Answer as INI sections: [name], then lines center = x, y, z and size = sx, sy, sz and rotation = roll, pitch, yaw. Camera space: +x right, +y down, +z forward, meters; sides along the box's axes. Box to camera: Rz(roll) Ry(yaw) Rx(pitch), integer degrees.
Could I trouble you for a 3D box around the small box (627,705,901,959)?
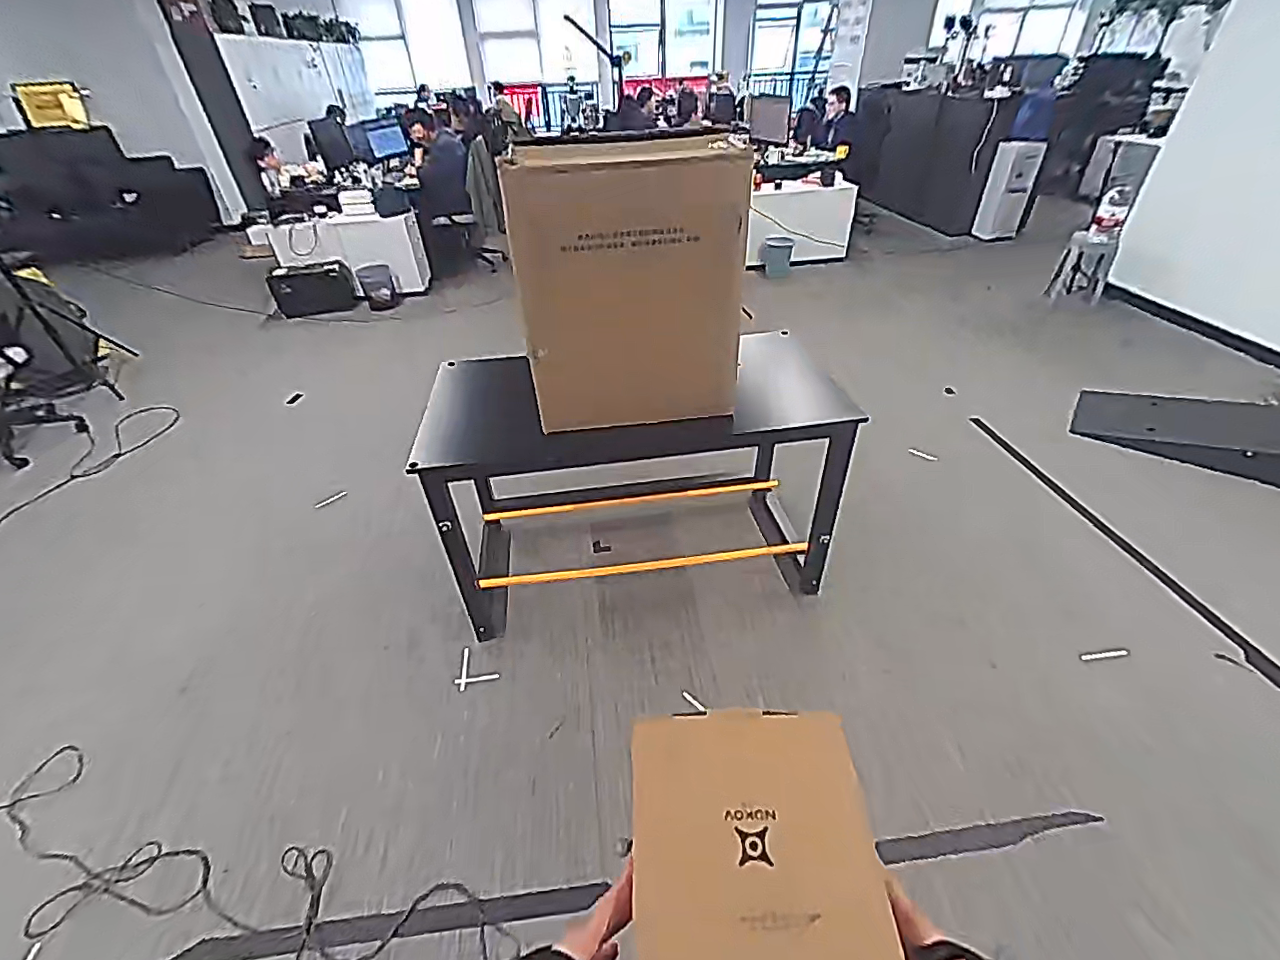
[small box]
center = 0.074, 0.298, 0.423
size = 0.168, 0.176, 0.179
rotation = 0, 44, 0
